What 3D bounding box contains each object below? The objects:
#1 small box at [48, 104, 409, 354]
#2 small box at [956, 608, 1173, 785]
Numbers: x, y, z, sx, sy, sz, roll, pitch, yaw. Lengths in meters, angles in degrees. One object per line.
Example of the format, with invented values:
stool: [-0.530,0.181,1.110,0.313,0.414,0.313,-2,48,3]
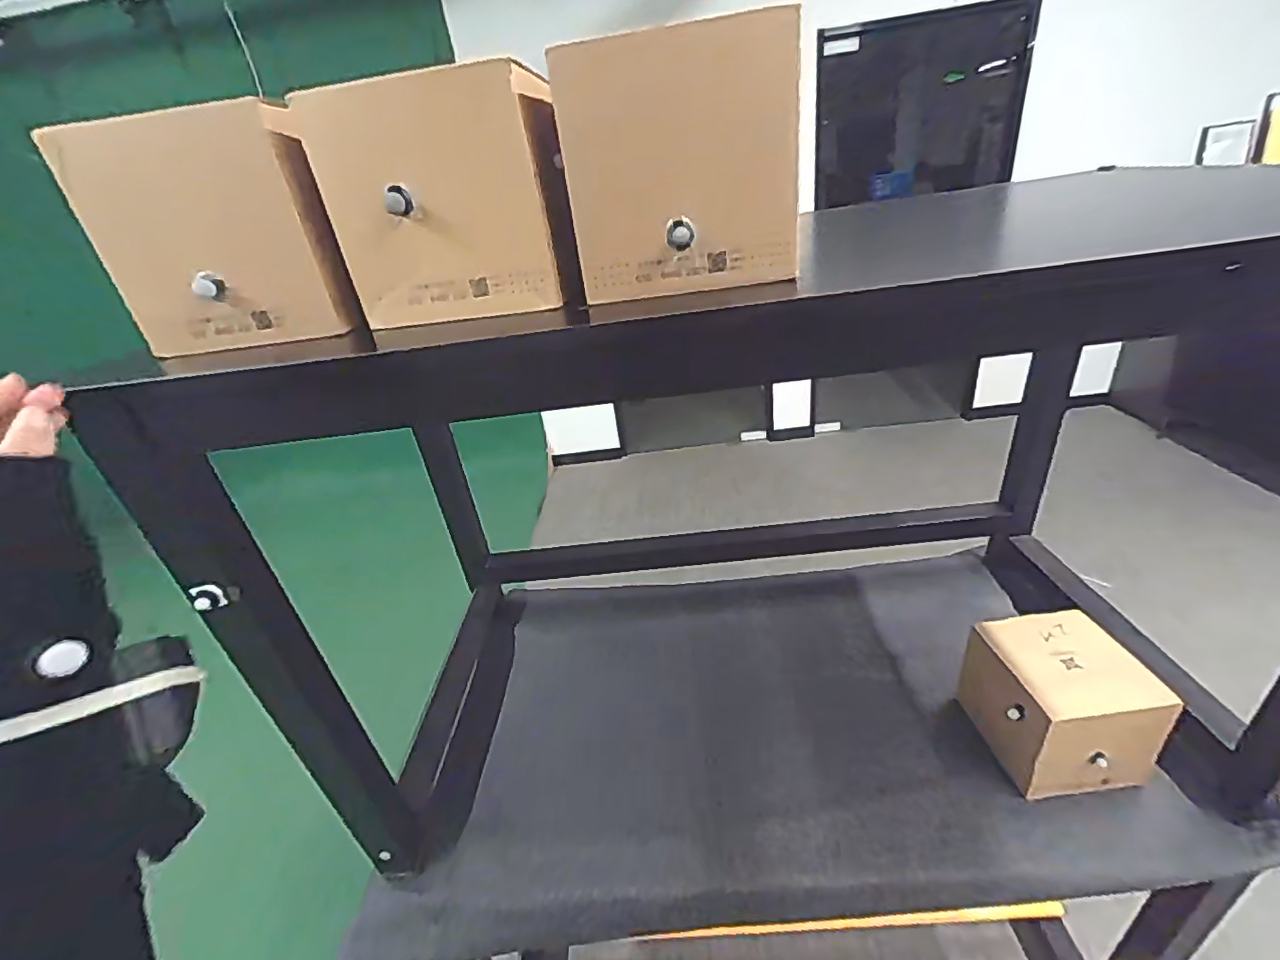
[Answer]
small box: [-0.334,-0.223,0.491,0.168,0.176,0.179,-6,30,3]
small box: [0.596,0.317,0.789,0.168,0.176,0.179,-8,28,1]
